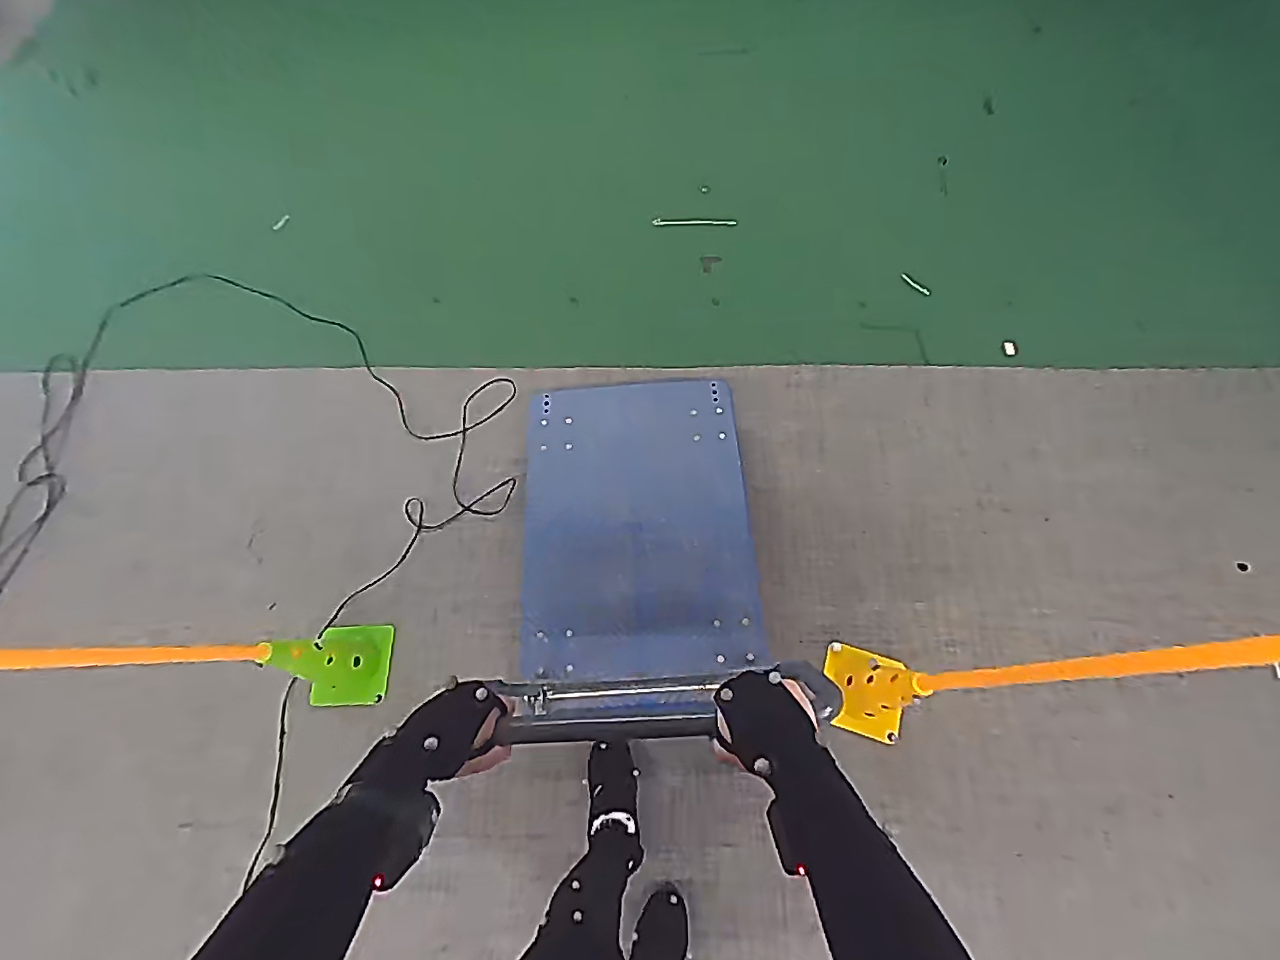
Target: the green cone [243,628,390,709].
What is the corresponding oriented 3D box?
[{"bbox_3d":[-0.780,0.428,1.274,0.202,0.368,0.200,-4,66,3],"label":"green cone"}]
